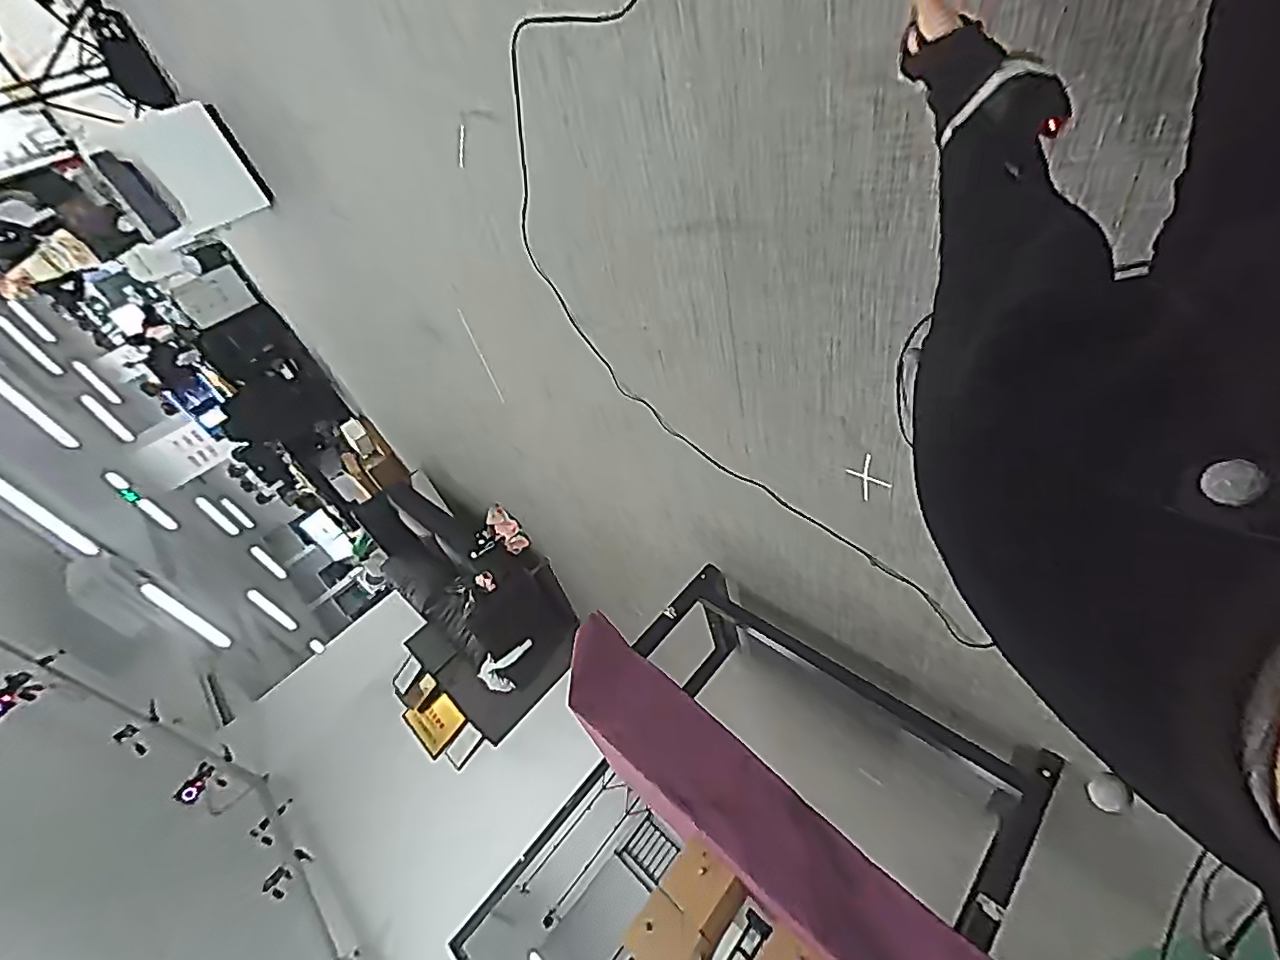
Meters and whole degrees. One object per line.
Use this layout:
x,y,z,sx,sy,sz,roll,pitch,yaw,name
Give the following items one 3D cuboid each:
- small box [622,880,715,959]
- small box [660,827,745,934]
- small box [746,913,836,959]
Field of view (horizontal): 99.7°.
0.085,1.286,1.538,0.179,0.176,0.168,21,145,43,small box
0.193,1.187,1.611,0.168,0.176,0.179,20,143,44,small box
0.401,1.283,1.418,0.179,0.176,0.168,25,147,41,small box
